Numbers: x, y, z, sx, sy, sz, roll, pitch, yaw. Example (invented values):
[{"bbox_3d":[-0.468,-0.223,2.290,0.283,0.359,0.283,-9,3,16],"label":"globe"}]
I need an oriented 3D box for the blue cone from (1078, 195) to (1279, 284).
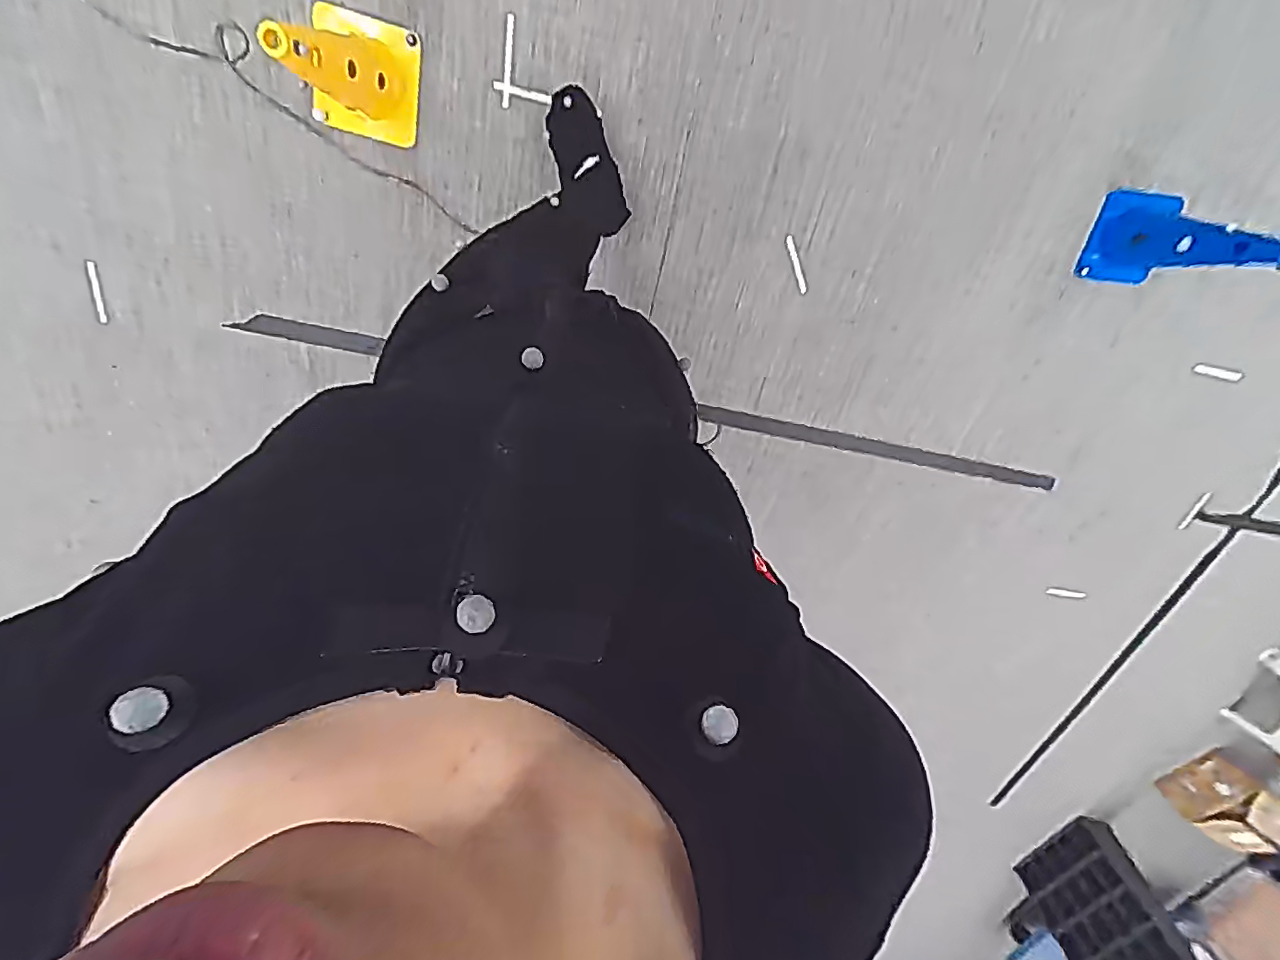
[{"bbox_3d":[1.198,-0.501,1.169,0.193,0.380,0.192,5,118,-7],"label":"blue cone"}]
